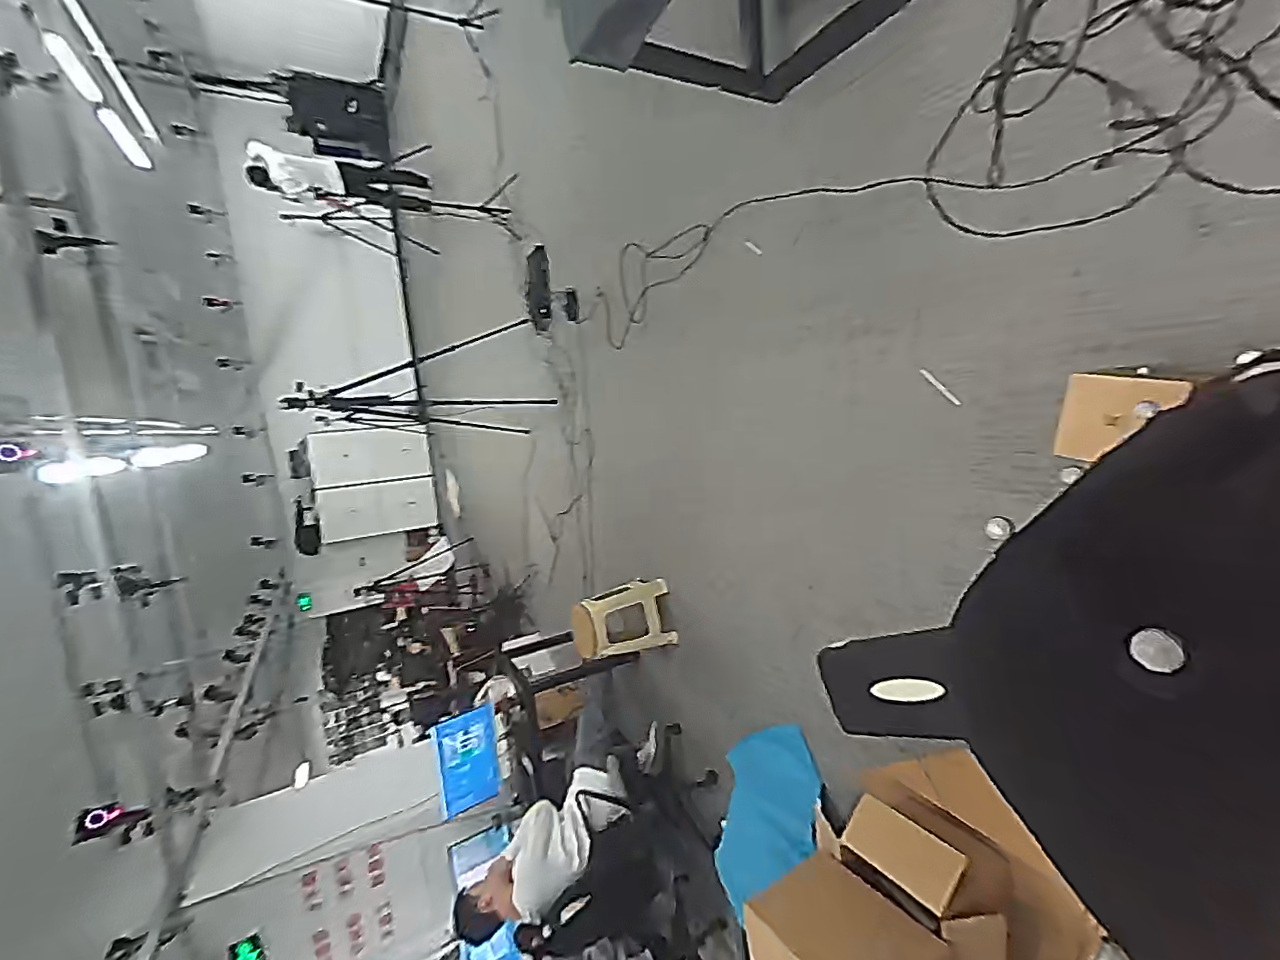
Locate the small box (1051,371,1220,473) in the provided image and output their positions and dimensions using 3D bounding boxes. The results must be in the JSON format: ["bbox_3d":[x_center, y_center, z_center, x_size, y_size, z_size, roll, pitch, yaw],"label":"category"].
[{"bbox_3d":[0.942,-0.119,1.034,0.179,0.176,0.168,25,119,55],"label":"small box"}]
